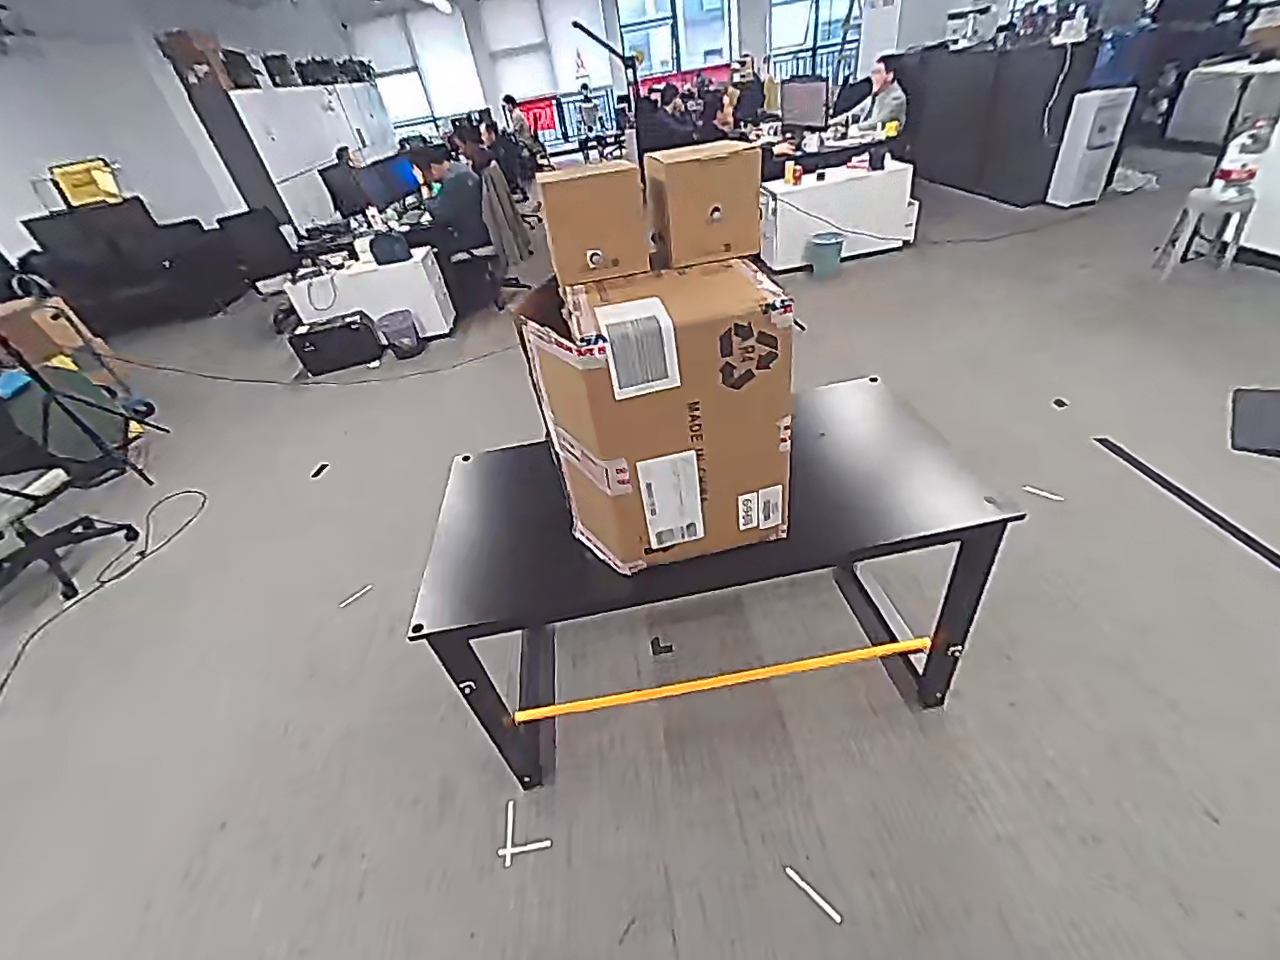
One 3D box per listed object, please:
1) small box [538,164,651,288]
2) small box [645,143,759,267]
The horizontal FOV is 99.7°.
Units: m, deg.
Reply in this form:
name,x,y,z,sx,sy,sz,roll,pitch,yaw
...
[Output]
name,x,y,z,sx,sy,sz,roll,pitch,yaw
small box,-0.084,-0.463,0.984,0.168,0.176,0.179,-14,36,-5
small box,0.112,-0.502,0.992,0.168,0.176,0.179,-11,37,-6
